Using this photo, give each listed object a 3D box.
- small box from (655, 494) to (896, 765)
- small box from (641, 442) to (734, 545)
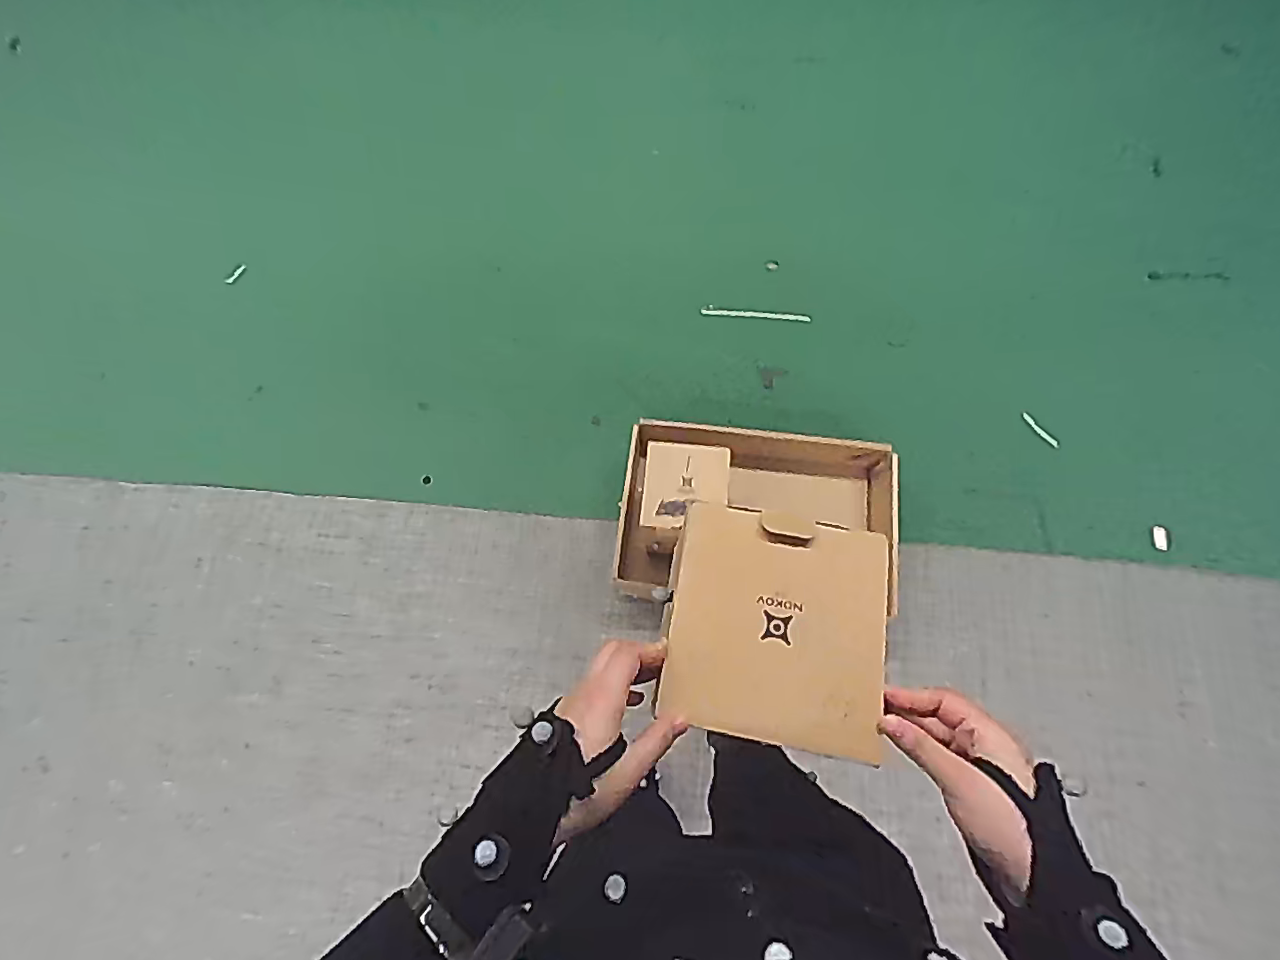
[{"bbox_3d":[0.109,0.134,0.488,0.168,0.176,0.179,11,69,3],"label":"small box"},{"bbox_3d":[0.096,0.039,1.111,0.168,0.176,0.179,6,72,3],"label":"small box"}]
